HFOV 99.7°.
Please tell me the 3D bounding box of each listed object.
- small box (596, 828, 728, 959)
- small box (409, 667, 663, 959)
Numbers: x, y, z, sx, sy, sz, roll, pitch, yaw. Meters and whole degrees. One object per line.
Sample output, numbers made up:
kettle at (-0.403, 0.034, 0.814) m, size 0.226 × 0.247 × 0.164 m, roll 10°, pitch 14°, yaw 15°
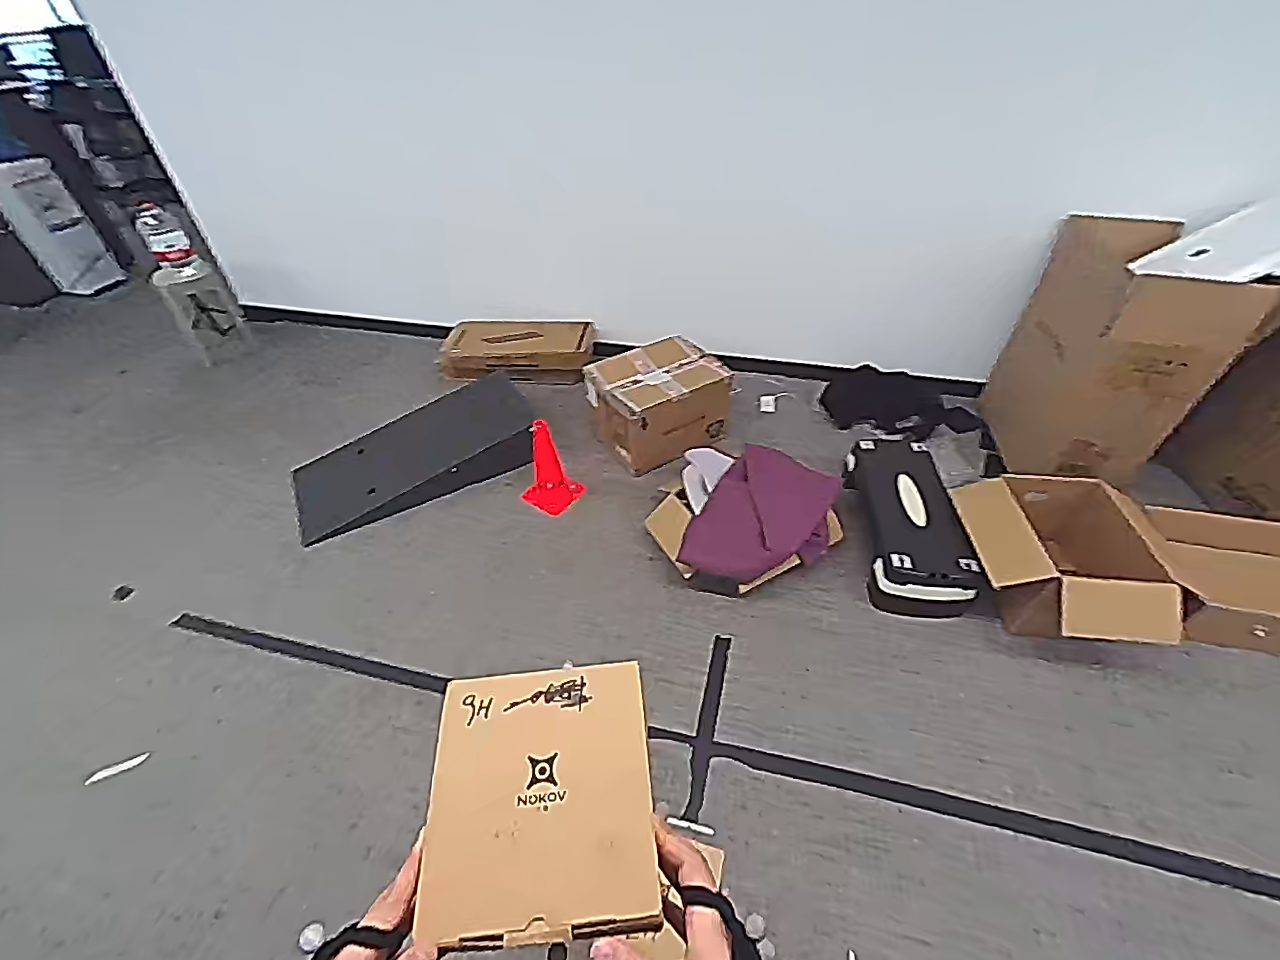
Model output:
small box at (0.039, 0.693, 0.872) m, size 0.168 × 0.176 × 0.179 m, roll 10°, pitch 45°, yaw 14°
small box at (-0.072, 0.282, 0.458) m, size 0.168 × 0.176 × 0.179 m, roll -6°, pitch 50°, yaw -3°
